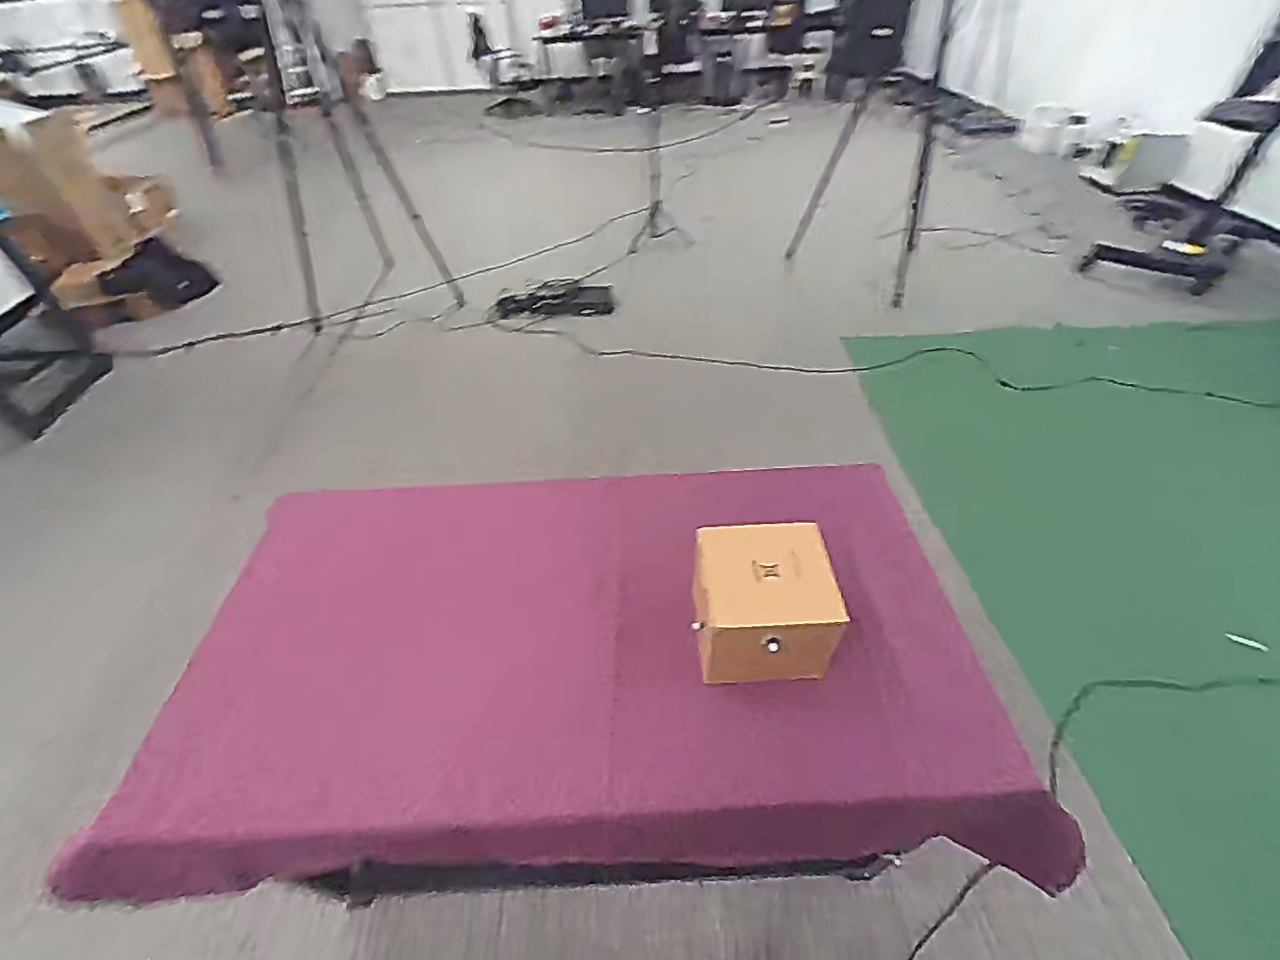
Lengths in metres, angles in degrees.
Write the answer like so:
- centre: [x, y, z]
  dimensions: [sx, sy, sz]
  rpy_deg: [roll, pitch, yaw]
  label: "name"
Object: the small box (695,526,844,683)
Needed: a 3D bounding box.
- centre: [0.174, 0.186, 0.796]
  dimensions: [0.179, 0.176, 0.168]
  rpy_deg: [-2, 45, 0]
  label: "small box"
